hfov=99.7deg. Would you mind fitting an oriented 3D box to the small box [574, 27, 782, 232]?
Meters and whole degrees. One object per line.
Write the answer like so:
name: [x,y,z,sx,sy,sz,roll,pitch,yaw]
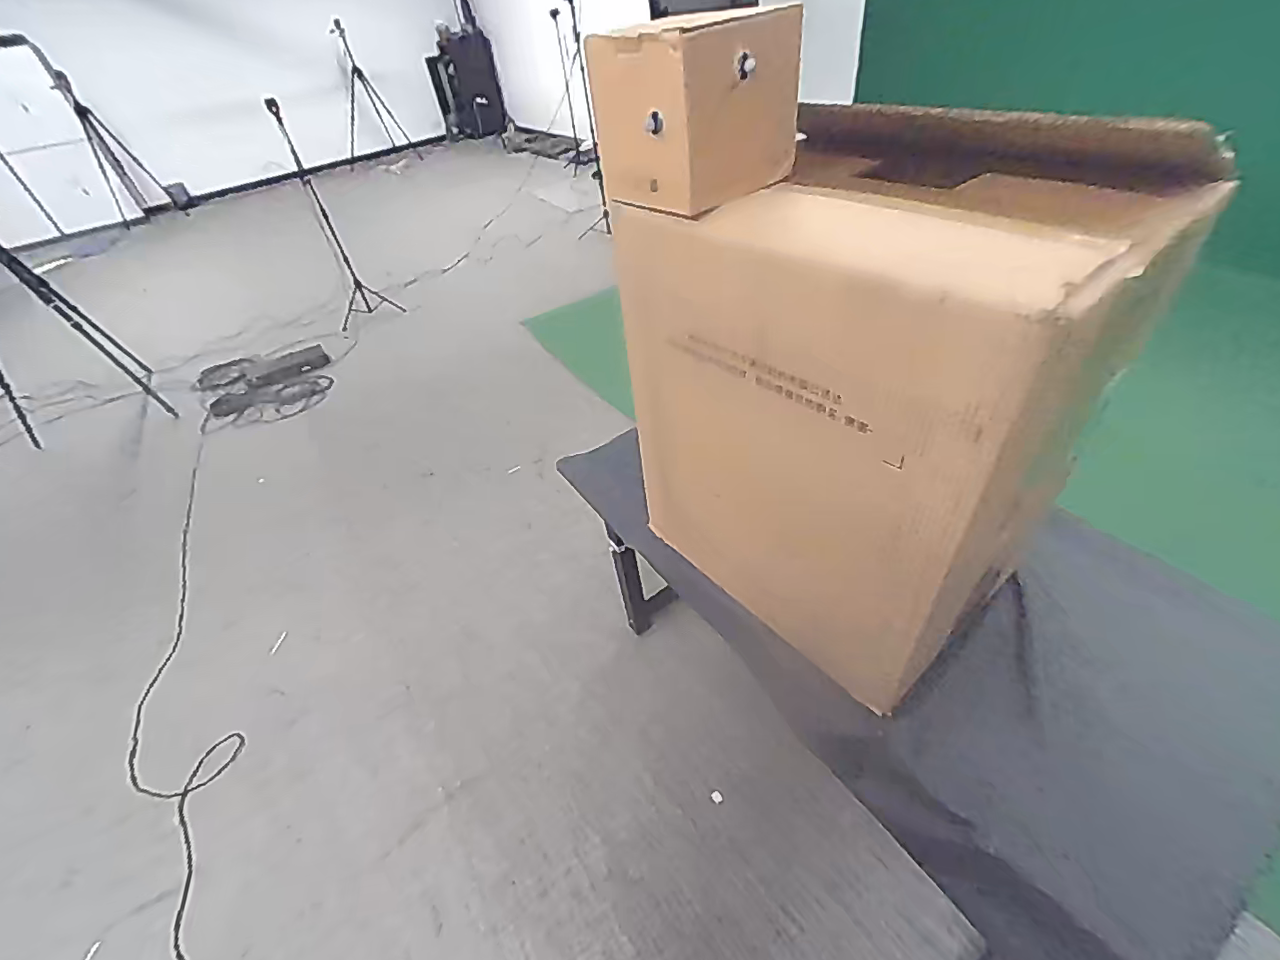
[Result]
small box: [0.050,-0.414,0.647,0.179,0.176,0.168,-32,46,-24]
